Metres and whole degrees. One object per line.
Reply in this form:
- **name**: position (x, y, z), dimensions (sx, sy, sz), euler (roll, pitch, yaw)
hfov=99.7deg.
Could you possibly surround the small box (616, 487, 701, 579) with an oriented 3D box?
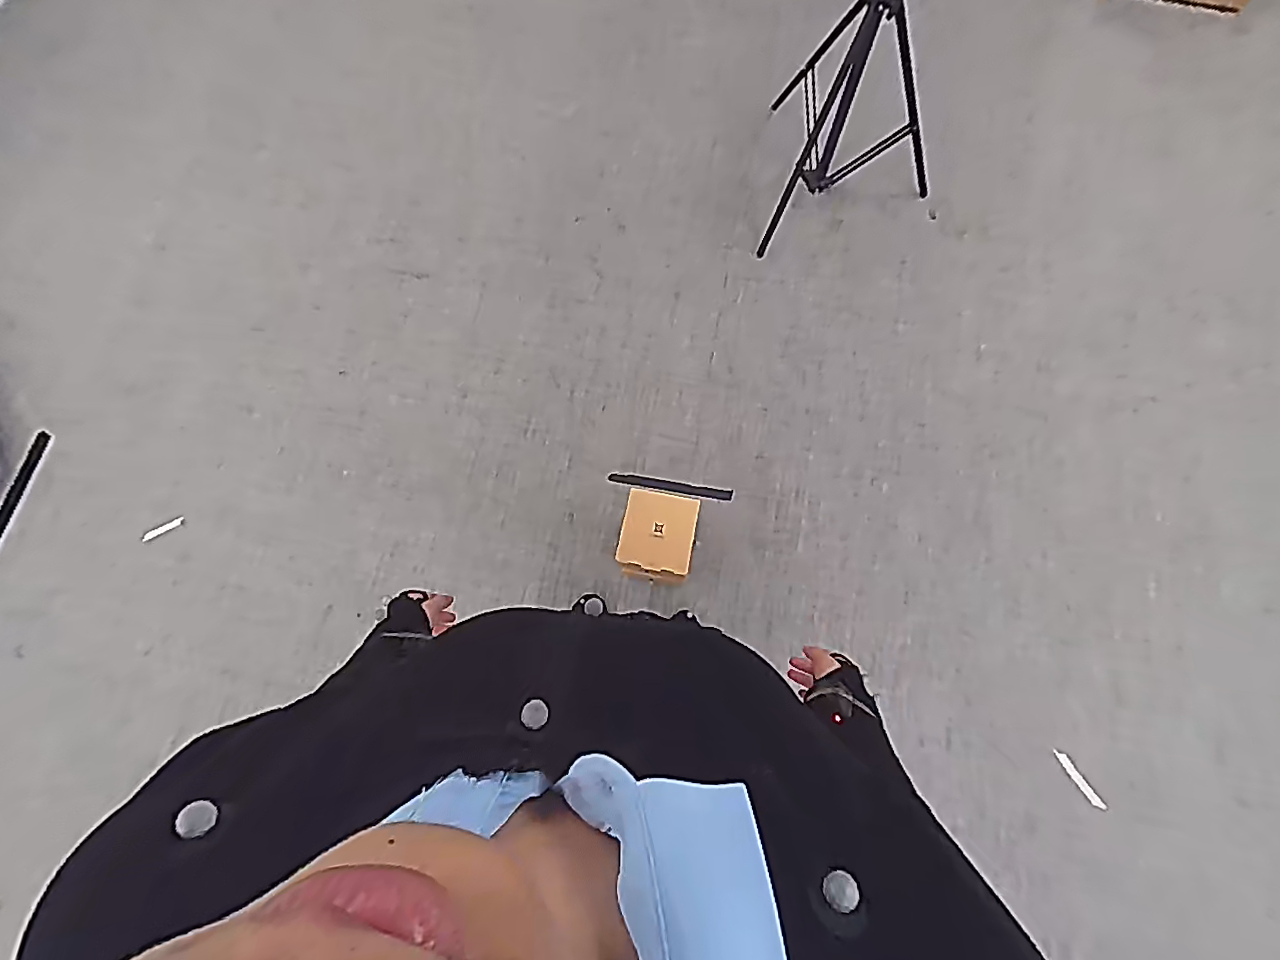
- **small box**: position (0.045, 0.132, 1.292), dimensions (0.168, 0.176, 0.179), euler (10, 77, 6)

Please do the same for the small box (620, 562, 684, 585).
- **small box**: position (0.048, 0.181, 1.448), dimensions (0.168, 0.176, 0.179), euler (8, 76, 5)
